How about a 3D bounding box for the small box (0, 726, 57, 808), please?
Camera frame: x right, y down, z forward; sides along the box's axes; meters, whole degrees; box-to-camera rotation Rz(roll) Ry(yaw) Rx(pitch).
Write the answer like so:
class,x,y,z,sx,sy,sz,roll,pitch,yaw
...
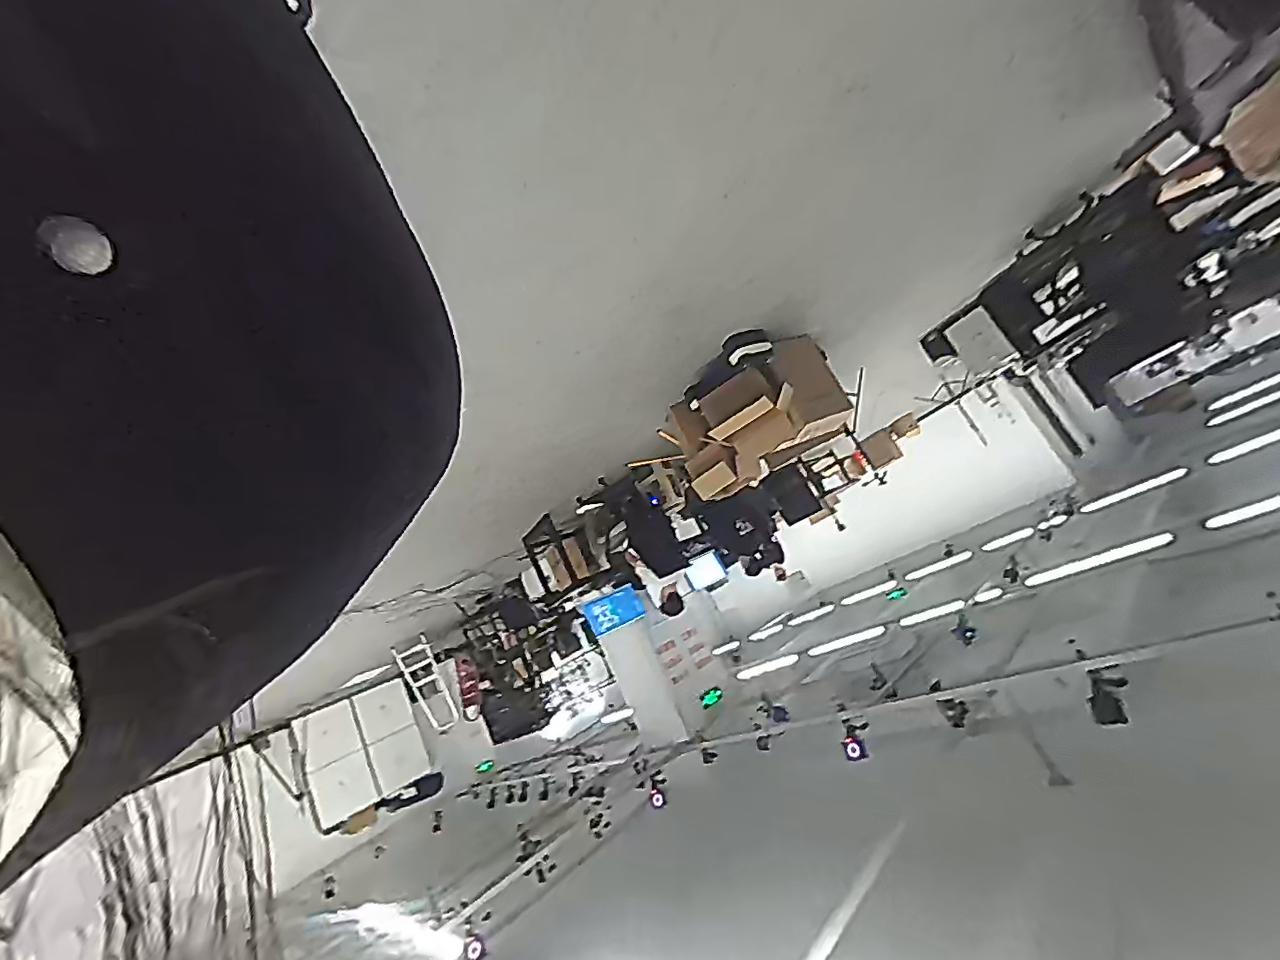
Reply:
class,x,y,z,sx,sy,sz,roll,pitch,yaw
small box,-1.866,0.856,1.588,0.179,0.176,0.168,-15,162,-45
